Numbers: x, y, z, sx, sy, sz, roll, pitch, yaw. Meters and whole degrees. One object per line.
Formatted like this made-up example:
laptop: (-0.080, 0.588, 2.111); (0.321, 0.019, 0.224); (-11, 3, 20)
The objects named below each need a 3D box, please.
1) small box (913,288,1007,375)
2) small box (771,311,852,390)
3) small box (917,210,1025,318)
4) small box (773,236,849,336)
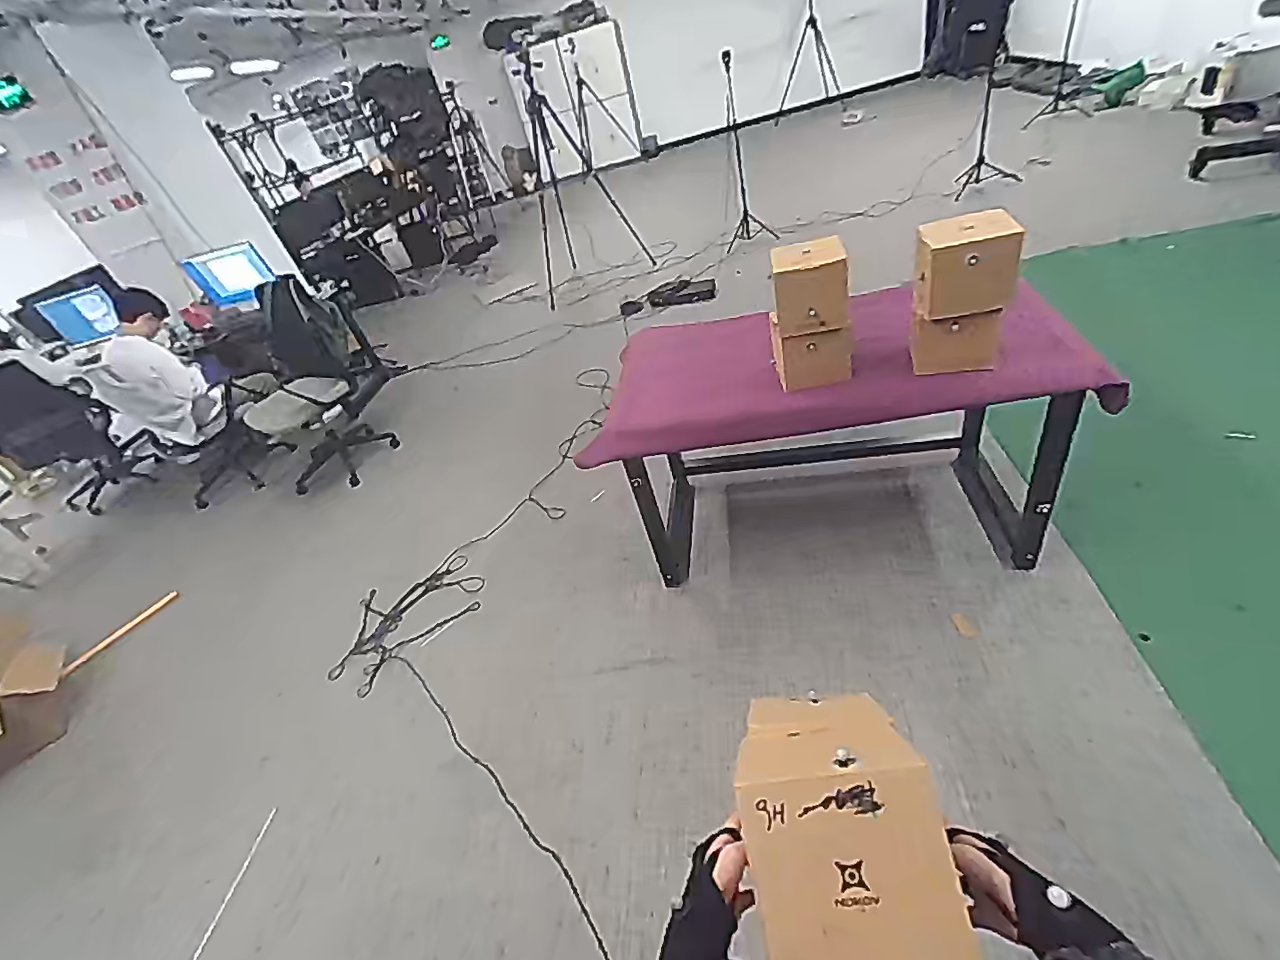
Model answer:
small box: (0.780, -0.376, 1.336); (0.179, 0.176, 0.168); (-1, 40, 23)
small box: (0.460, -0.360, 1.448); (0.179, 0.176, 0.168); (-10, 39, 10)
small box: (0.732, -0.480, 1.216); (0.179, 0.176, 0.168); (-5, 39, 19)
small box: (0.422, -0.479, 1.341); (0.168, 0.176, 0.179); (-6, 40, 16)
